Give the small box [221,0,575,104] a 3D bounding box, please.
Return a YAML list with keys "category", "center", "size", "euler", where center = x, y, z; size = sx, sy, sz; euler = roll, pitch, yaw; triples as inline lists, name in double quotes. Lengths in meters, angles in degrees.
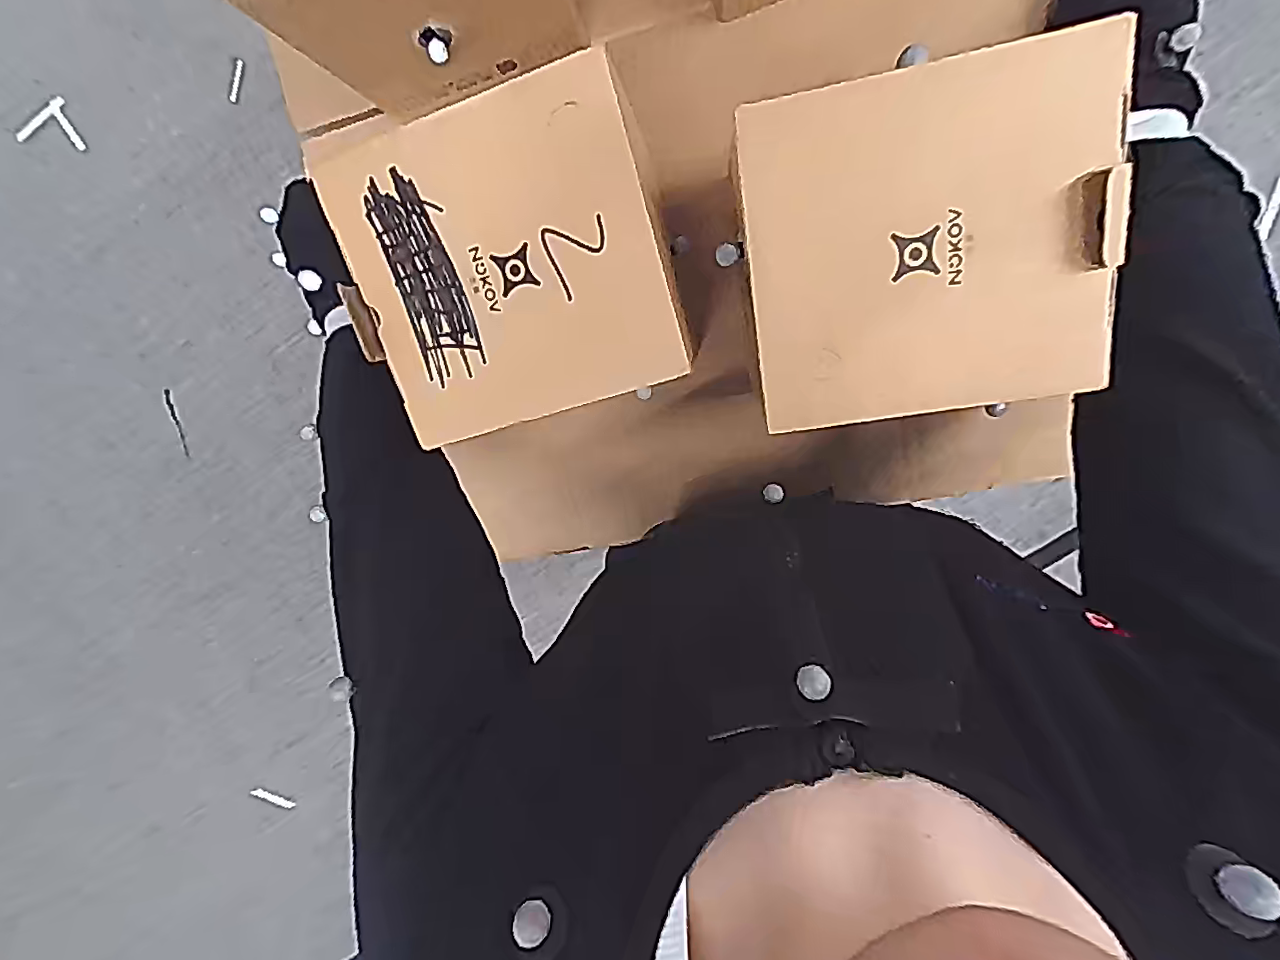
- category: "small box"
  center: [-0.151, -0.366, 0.328]
  size: [0.168, 0.176, 0.179]
  euler: [-11, 102, 11]
